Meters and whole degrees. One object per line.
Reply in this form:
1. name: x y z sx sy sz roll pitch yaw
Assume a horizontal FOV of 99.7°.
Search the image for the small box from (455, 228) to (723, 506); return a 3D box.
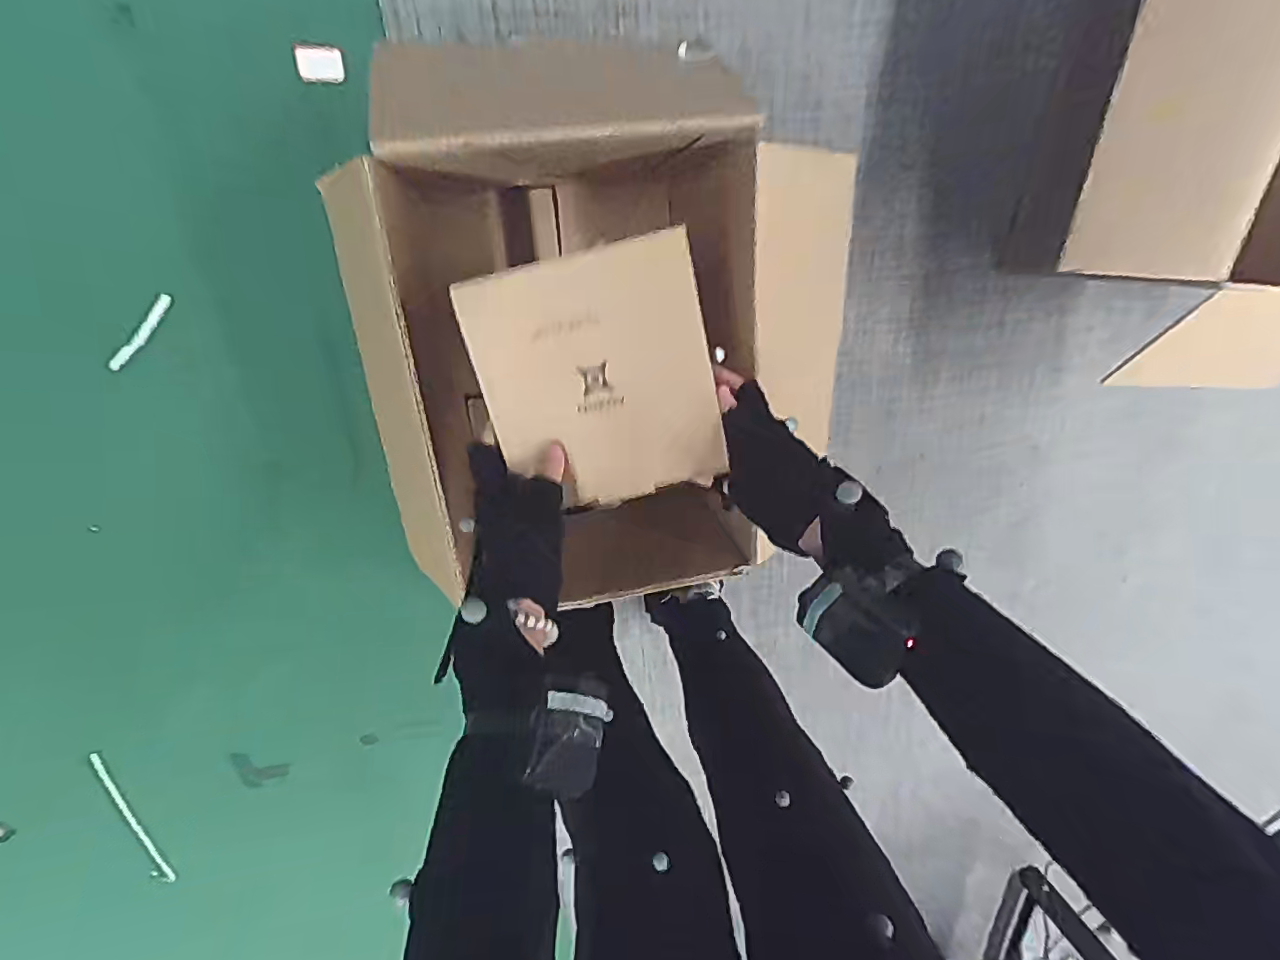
1. small box: -0.029 -0.099 0.464 0.168 0.176 0.179 -11 108 5
